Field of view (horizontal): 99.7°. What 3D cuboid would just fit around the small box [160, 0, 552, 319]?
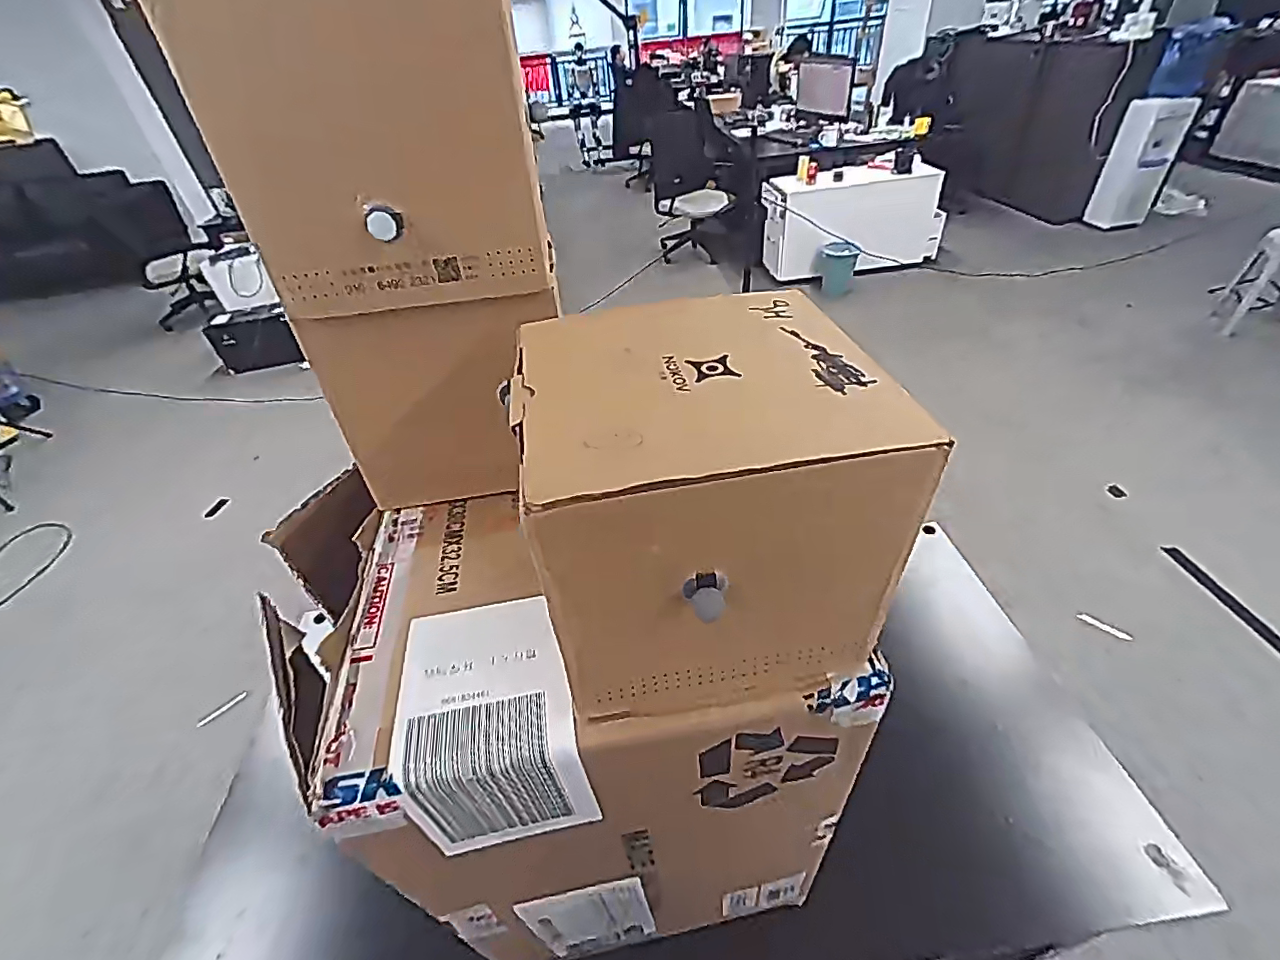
[{"bbox_3d":[-0.156,-0.224,0.370,0.168,0.176,0.179,-9,38,-5],"label":"small box"}]

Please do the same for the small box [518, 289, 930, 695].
[{"bbox_3d":[0.032,0.007,0.329,0.179,0.176,0.168,-10,42,-5],"label":"small box"}]

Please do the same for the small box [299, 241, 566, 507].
[{"bbox_3d":[-0.148,-0.098,0.475,0.179,0.176,0.168,-10,37,-5],"label":"small box"}]
